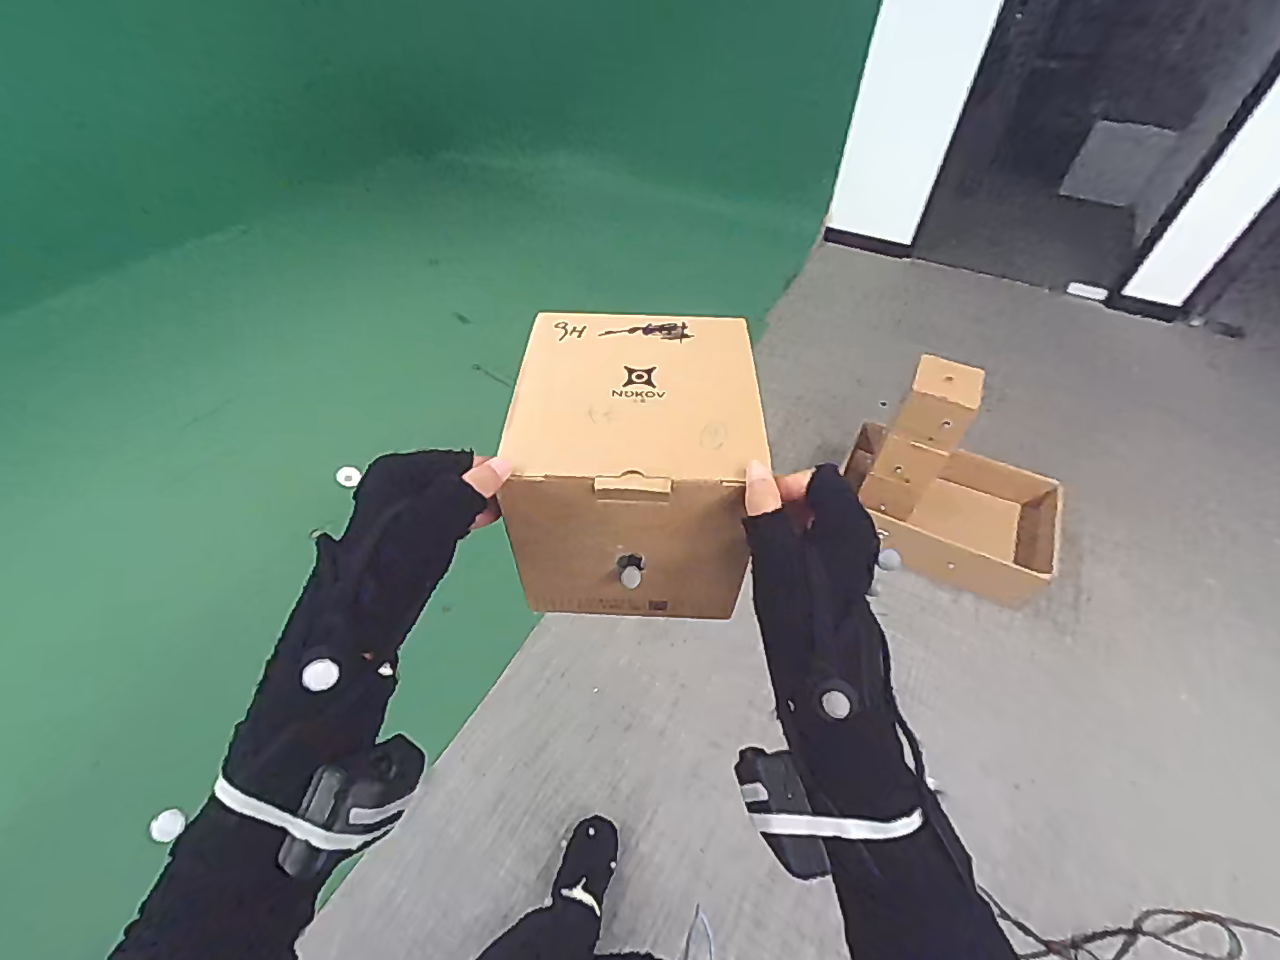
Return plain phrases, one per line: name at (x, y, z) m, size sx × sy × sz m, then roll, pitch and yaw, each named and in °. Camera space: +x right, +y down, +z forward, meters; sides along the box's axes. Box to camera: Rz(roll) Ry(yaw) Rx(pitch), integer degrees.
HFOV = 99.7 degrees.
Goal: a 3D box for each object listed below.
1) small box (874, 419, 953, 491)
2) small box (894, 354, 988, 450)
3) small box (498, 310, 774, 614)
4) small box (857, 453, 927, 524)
small box at (0.818, -0.101, 1.605) m, size 0.168 × 0.176 × 0.179 m, roll 24°, pitch 53°, yaw 18°
small box at (0.821, -0.212, 1.486) m, size 0.168 × 0.176 × 0.179 m, roll 23°, pitch 52°, yaw 16°
small box at (0.001, -0.010, 0.426) m, size 0.168 × 0.176 × 0.179 m, roll 3°, pitch 50°, yaw 1°
small box at (0.815, 0.007, 1.728) m, size 0.168 × 0.176 × 0.179 m, roll 24°, pitch 53°, yaw 19°
